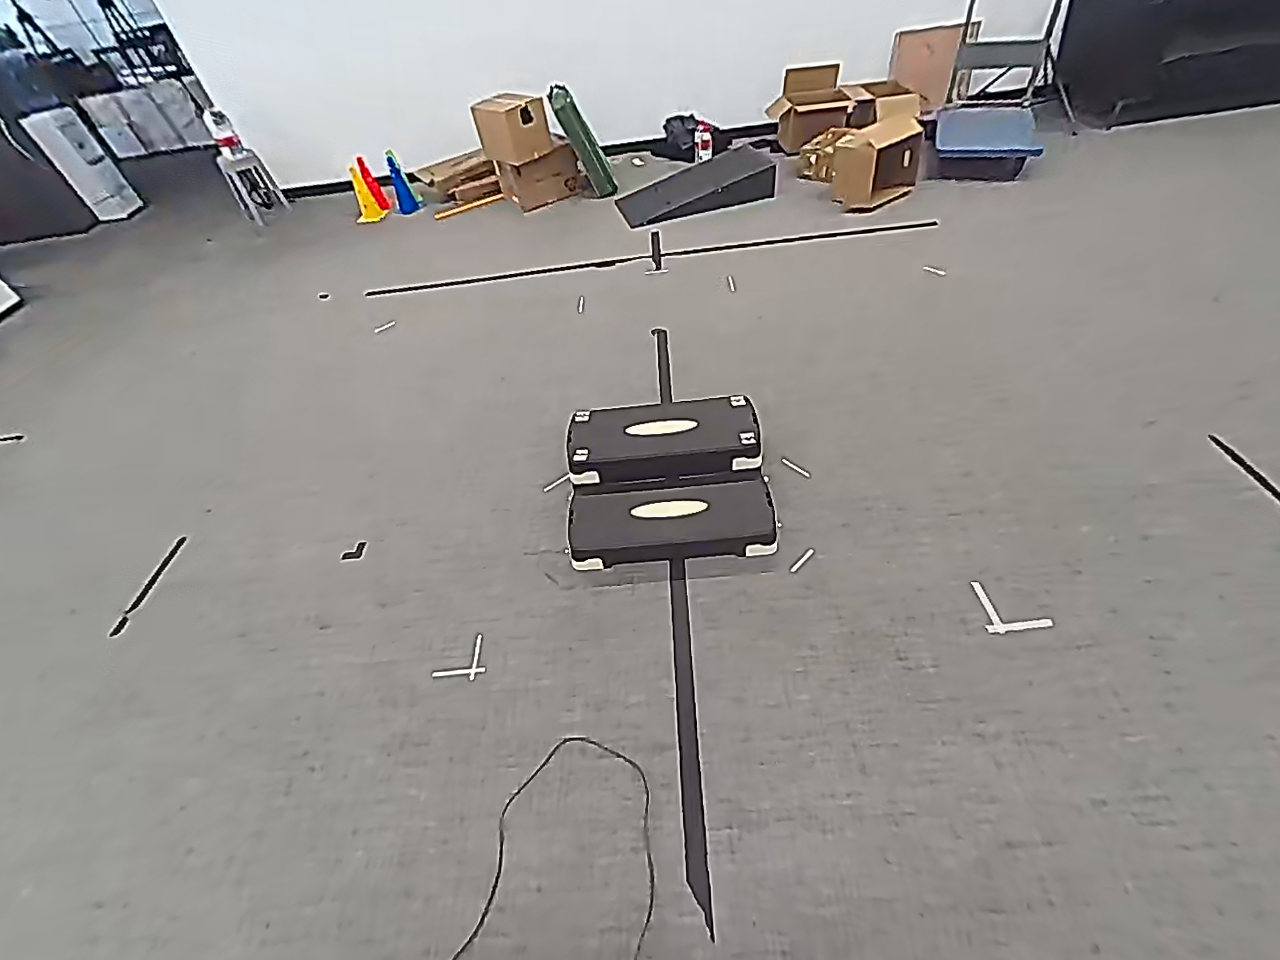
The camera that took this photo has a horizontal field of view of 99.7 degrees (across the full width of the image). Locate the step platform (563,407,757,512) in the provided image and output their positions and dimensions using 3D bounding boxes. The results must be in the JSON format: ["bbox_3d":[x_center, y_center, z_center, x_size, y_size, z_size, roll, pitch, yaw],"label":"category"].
[{"bbox_3d":[0.070,-0.079,1.932,0.684,0.204,0.286,-5,47,2],"label":"step platform"}]
